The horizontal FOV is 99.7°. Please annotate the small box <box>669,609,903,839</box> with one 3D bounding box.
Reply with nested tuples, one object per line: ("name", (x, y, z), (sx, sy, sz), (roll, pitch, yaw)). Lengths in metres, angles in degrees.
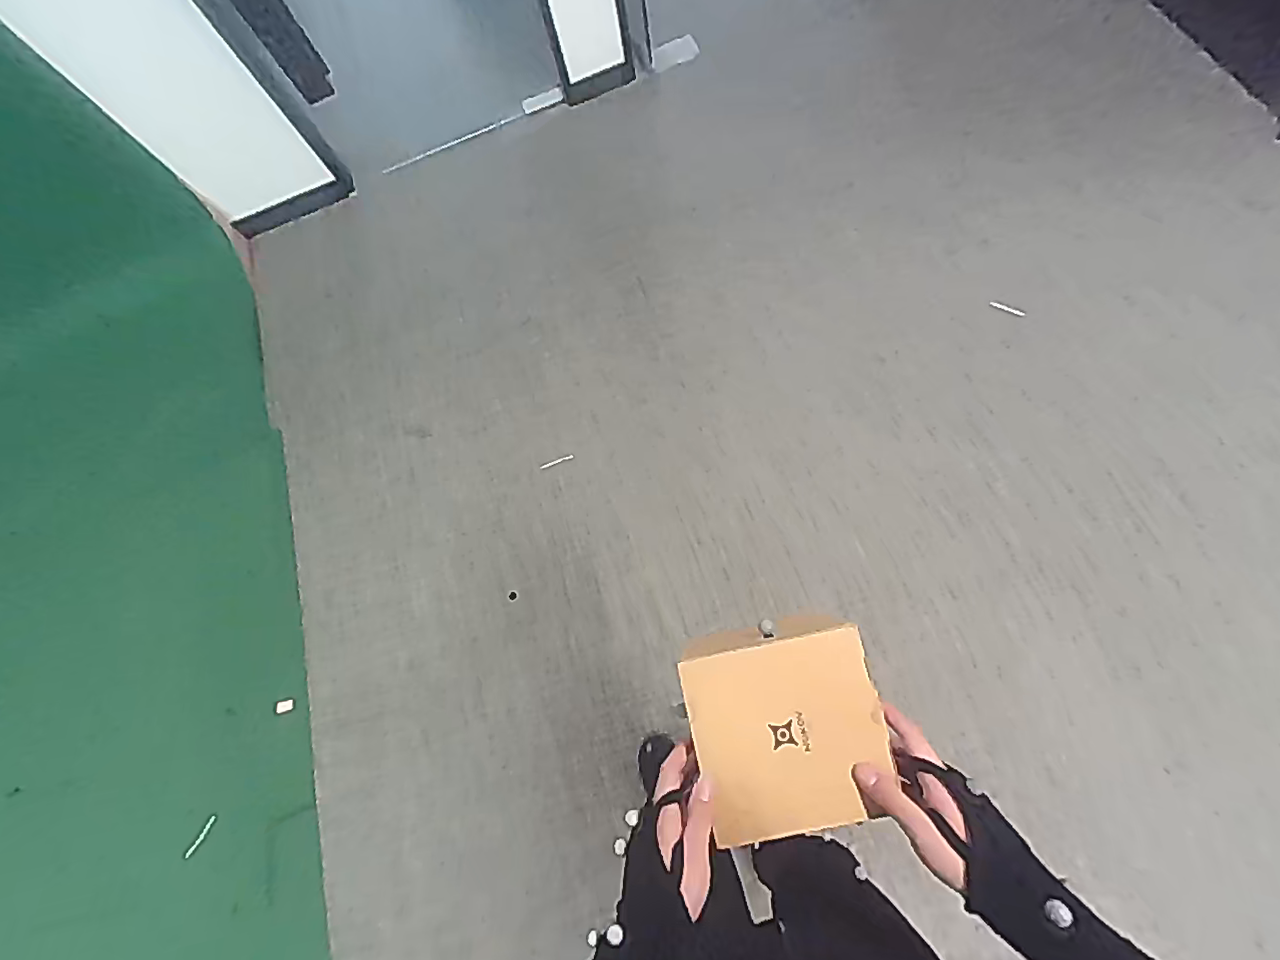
("small box", (0.135, 0.235, 0.564), (0.179, 0.176, 0.168), (-13, 79, 2))
